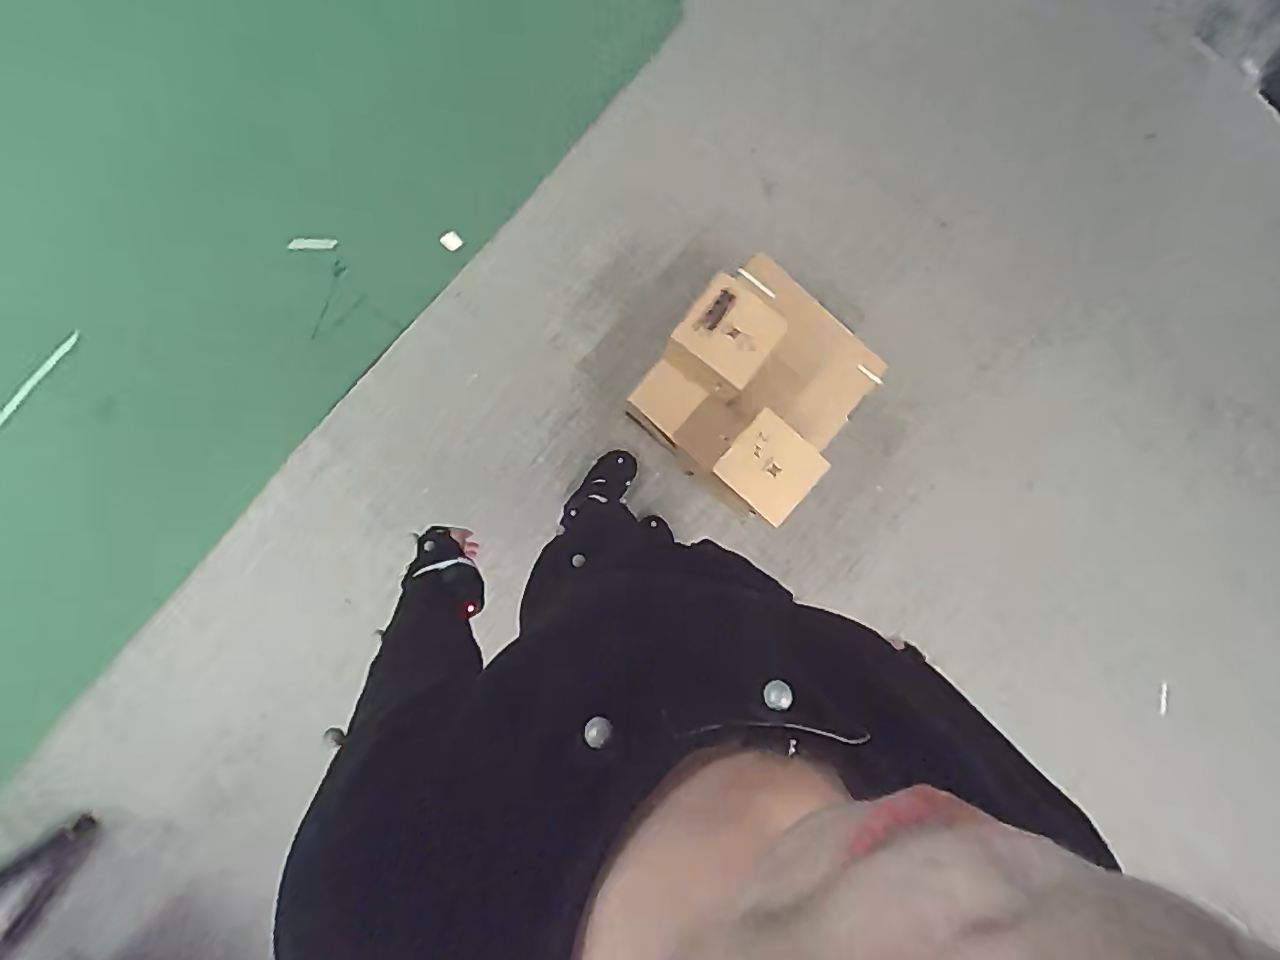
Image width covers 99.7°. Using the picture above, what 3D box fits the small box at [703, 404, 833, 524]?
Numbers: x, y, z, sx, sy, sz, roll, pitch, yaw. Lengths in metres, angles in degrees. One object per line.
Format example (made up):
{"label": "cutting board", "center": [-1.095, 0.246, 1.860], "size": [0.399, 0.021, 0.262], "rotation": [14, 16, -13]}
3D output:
{"label": "small box", "center": [0.255, -0.033, 1.116], "size": [0.179, 0.176, 0.168], "rotation": [43, 89, -2]}
